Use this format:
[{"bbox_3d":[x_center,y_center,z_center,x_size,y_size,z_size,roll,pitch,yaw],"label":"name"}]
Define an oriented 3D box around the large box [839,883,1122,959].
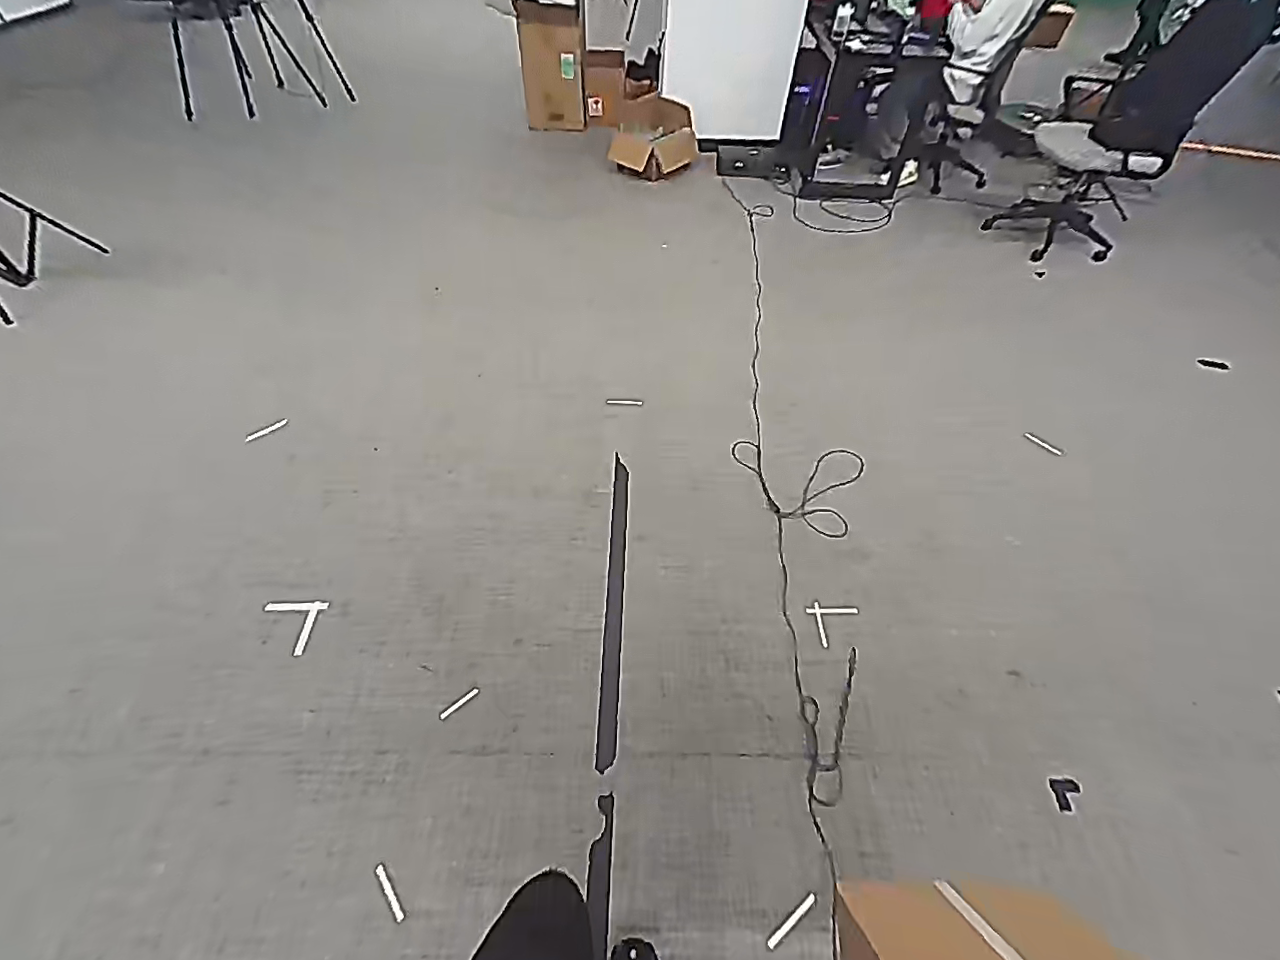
[{"bbox_3d":[0.446,0.731,0.600,0.320,0.408,0.320,0,79,2],"label":"large box"}]
